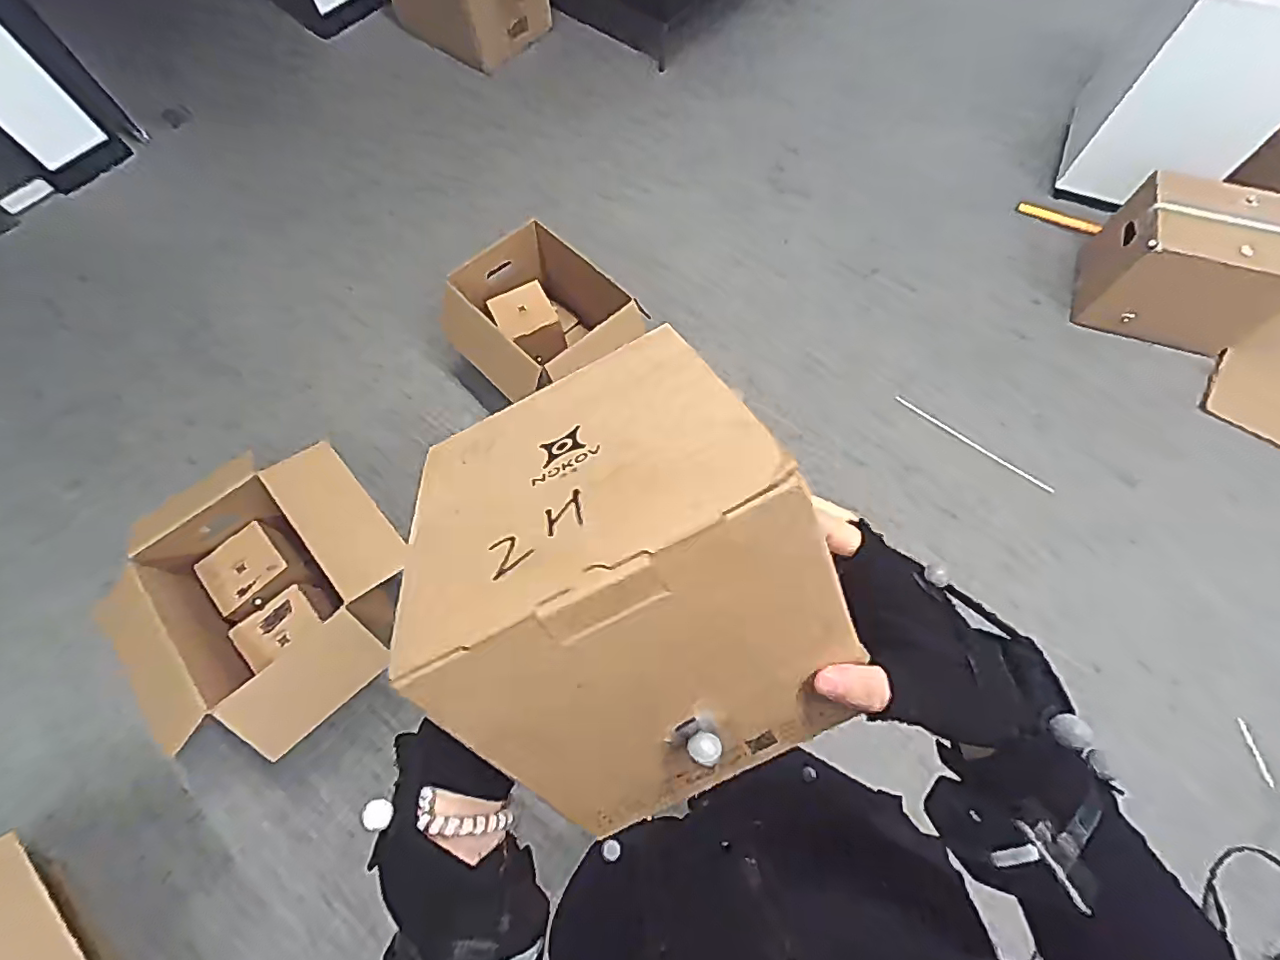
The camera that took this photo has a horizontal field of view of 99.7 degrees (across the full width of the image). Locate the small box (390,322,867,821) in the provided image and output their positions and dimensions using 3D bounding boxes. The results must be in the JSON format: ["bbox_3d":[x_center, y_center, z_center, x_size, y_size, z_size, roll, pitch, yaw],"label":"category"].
[{"bbox_3d":[-0.002,0.044,0.302,0.168,0.176,0.179,-27,35,4],"label":"small box"}]
